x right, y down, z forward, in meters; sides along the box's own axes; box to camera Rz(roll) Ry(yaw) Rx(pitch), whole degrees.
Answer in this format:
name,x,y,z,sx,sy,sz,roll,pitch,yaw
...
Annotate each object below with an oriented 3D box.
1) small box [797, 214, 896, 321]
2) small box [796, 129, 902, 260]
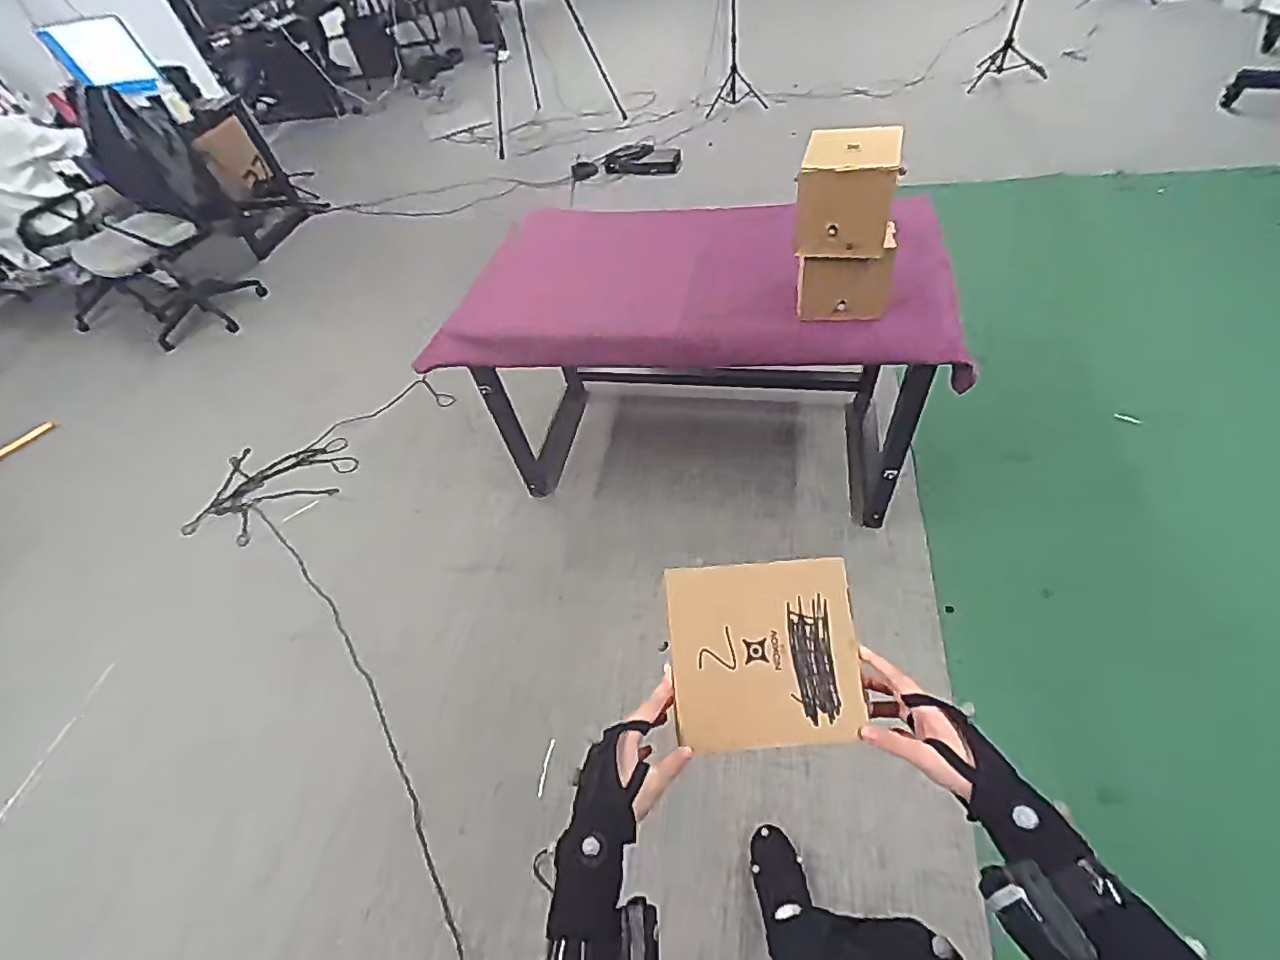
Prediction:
name,x,y,z,sx,sy,sz,roll,pitch,yaw
small box,0.443,-0.463,1.182,0.179,0.176,0.168,3,50,14
small box,0.400,-0.552,1.050,0.168,0.176,0.179,9,54,19
